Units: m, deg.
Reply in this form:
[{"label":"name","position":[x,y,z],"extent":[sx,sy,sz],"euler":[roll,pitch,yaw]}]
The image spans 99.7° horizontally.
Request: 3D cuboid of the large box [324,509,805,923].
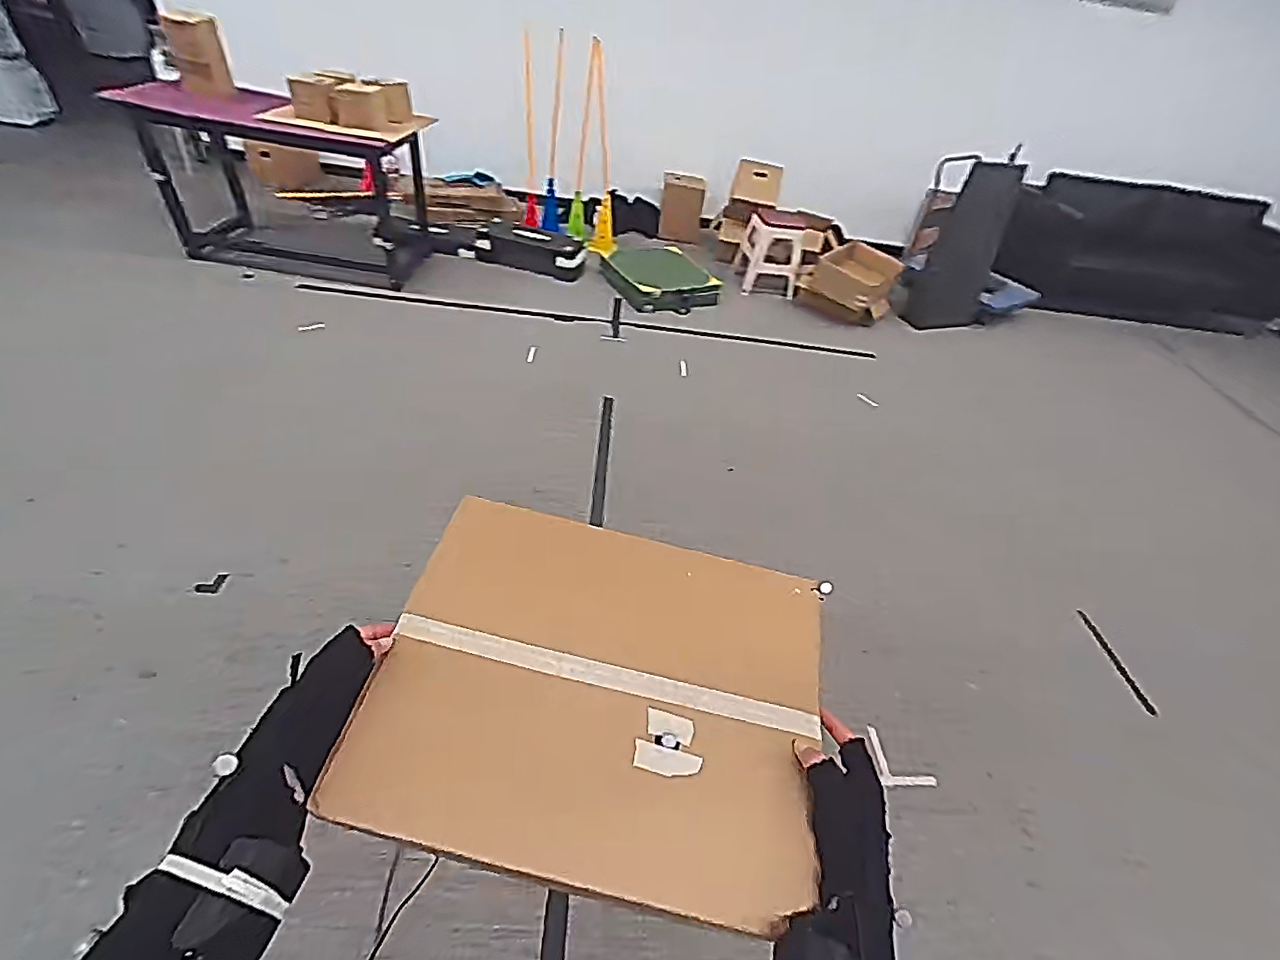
[{"label":"large box","position":[-0.056,0.280,0.638],"extent":[0.408,0.320,0.320],"euler":[13,53,1]}]
